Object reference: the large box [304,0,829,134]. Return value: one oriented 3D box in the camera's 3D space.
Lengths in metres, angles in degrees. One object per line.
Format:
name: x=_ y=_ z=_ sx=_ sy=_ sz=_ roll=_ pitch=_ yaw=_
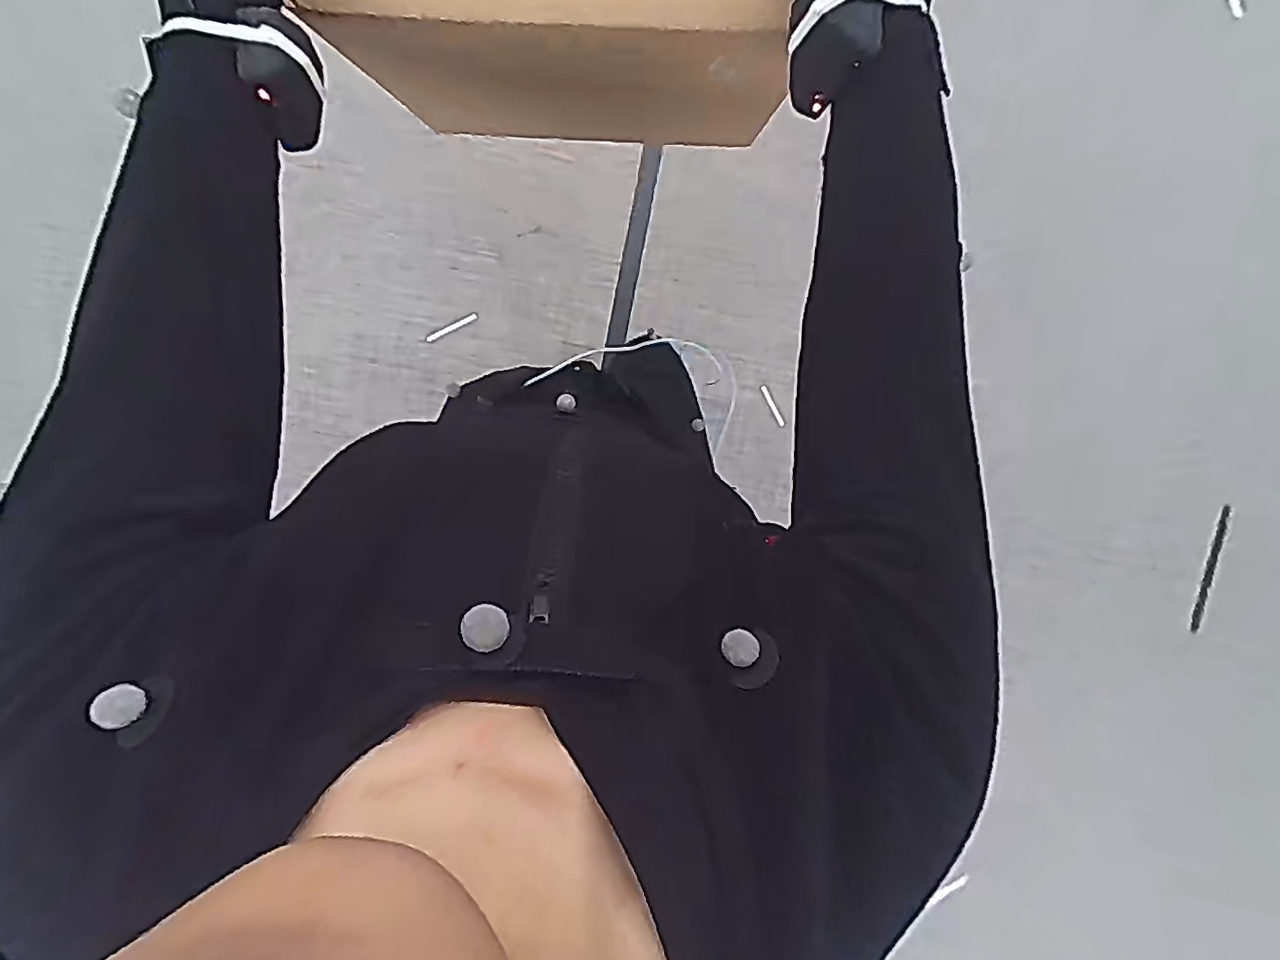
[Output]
large box: x=-0.057 y=-0.542 z=0.501 sx=0.408 sy=0.320 sz=0.320 roll=1 pitch=109 yaw=-1
